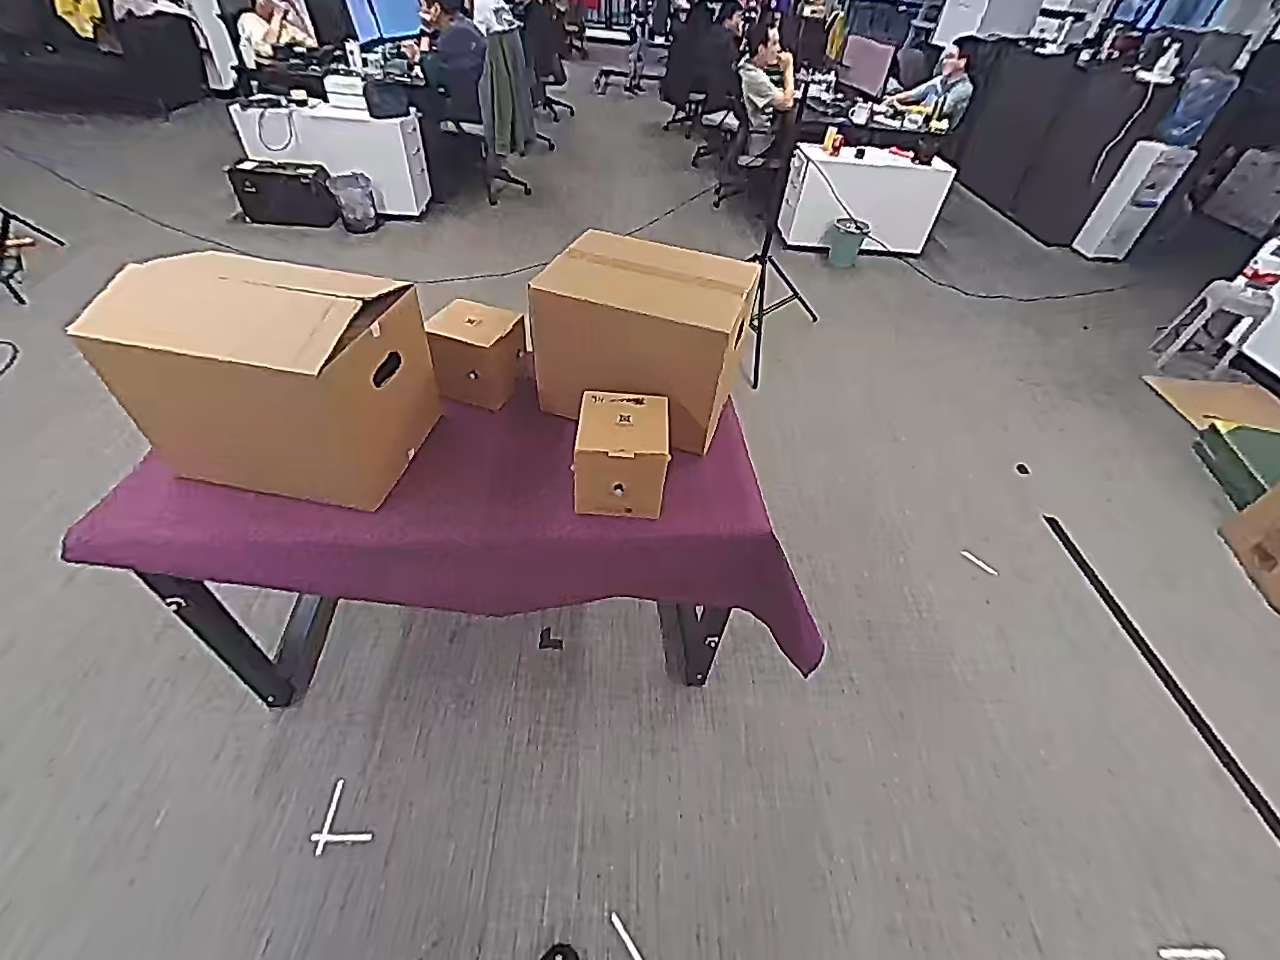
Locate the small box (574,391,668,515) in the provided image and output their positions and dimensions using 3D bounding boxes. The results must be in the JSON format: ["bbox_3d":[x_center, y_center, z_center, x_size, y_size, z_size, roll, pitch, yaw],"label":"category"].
[{"bbox_3d":[-0.034,-0.049,1.045,0.168,0.176,0.179,4,45,-2],"label":"small box"}]
